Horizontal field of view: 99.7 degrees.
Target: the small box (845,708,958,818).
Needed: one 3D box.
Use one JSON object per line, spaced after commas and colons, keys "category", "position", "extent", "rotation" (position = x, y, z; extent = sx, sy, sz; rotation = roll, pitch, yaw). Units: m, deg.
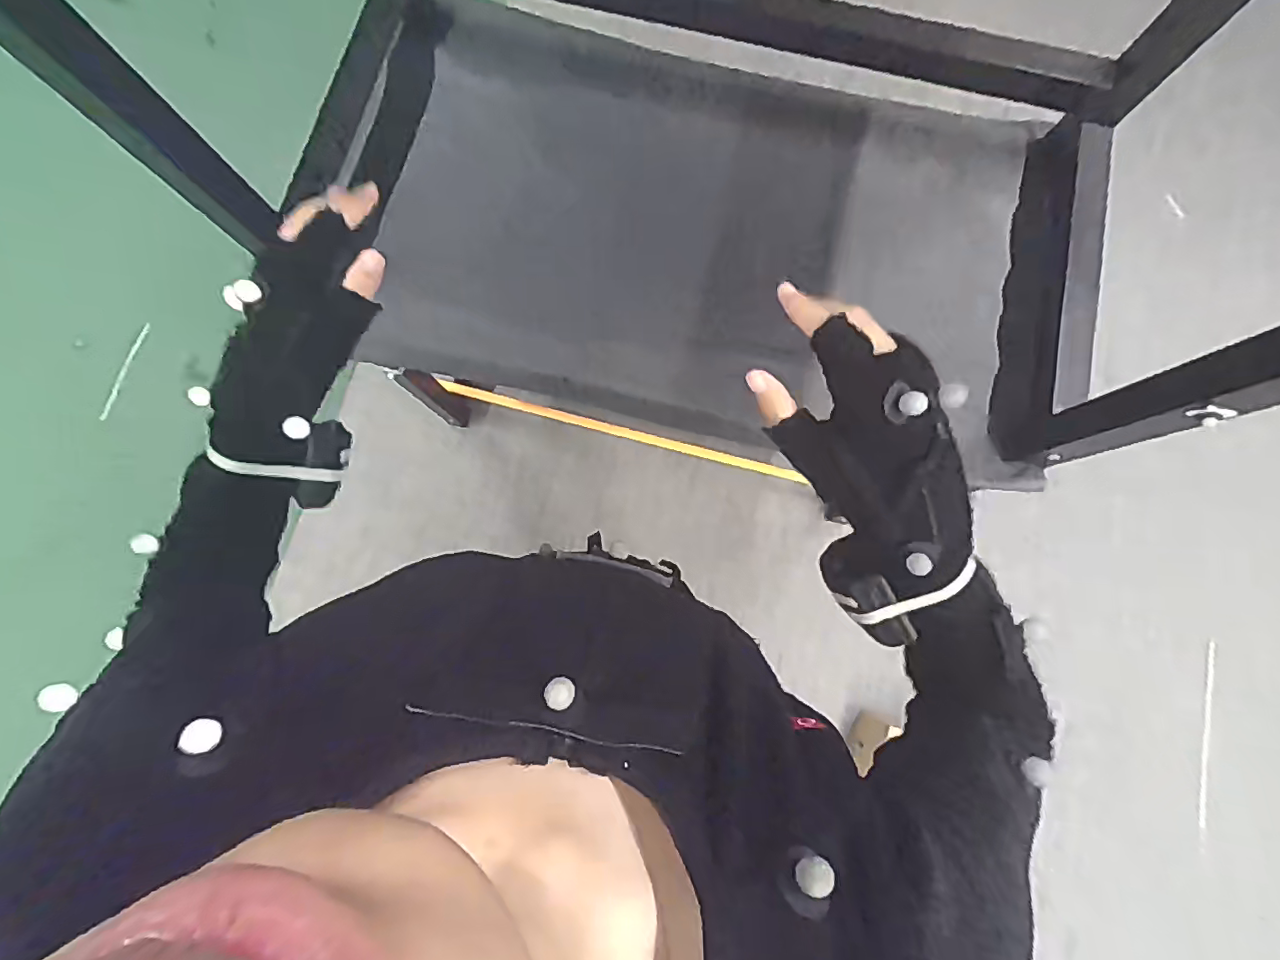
{"category": "small box", "position": [0.640, 0.688, 1.339], "extent": [0.179, 0.176, 0.168], "rotation": [20, 80, 4]}
